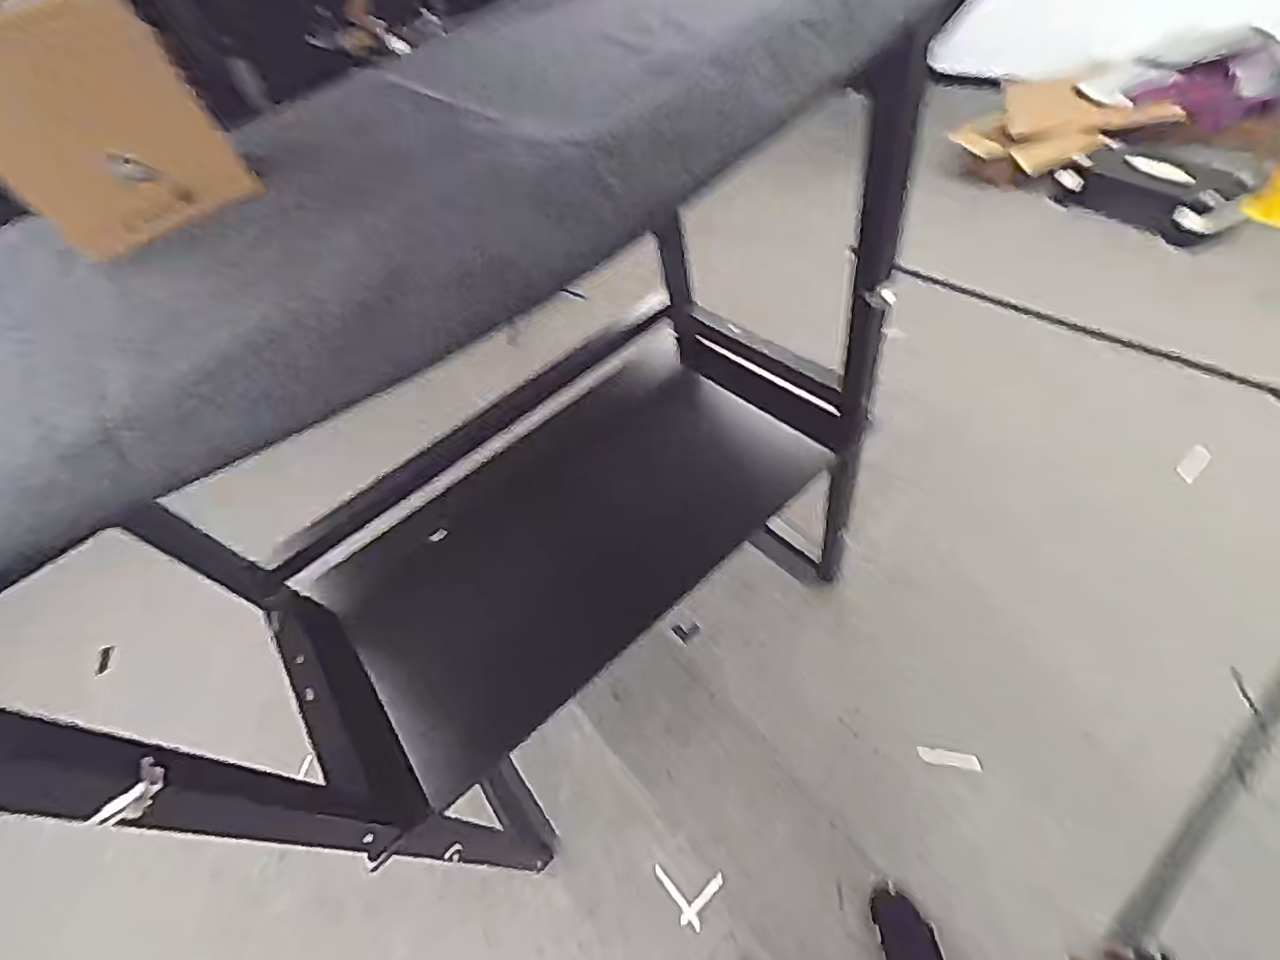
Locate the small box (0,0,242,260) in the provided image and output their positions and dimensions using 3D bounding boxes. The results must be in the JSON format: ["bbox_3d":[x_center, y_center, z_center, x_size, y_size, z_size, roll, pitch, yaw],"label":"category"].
[{"bbox_3d":[-0.528,-0.335,0.507,0.168,0.176,0.179,-42,55,-17],"label":"small box"}]
